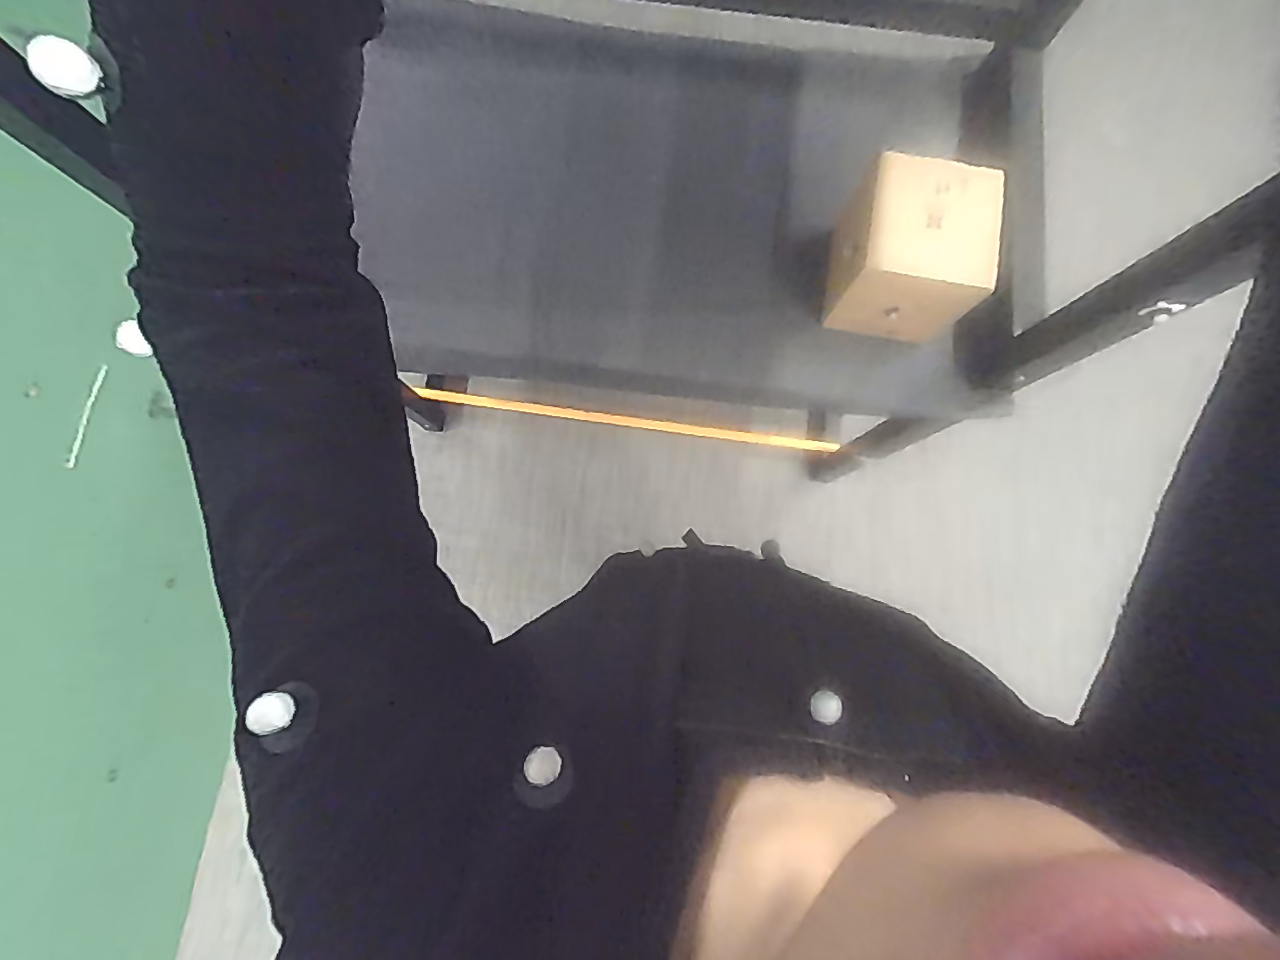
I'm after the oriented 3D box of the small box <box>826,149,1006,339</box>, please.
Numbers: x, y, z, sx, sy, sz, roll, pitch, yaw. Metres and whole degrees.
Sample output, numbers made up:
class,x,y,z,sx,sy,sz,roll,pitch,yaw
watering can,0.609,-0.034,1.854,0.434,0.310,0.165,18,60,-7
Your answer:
class,x,y,z,sx,sy,sz,roll,pitch,yaw
small box,0.380,-0.323,0.772,0.168,0.176,0.179,11,80,1
